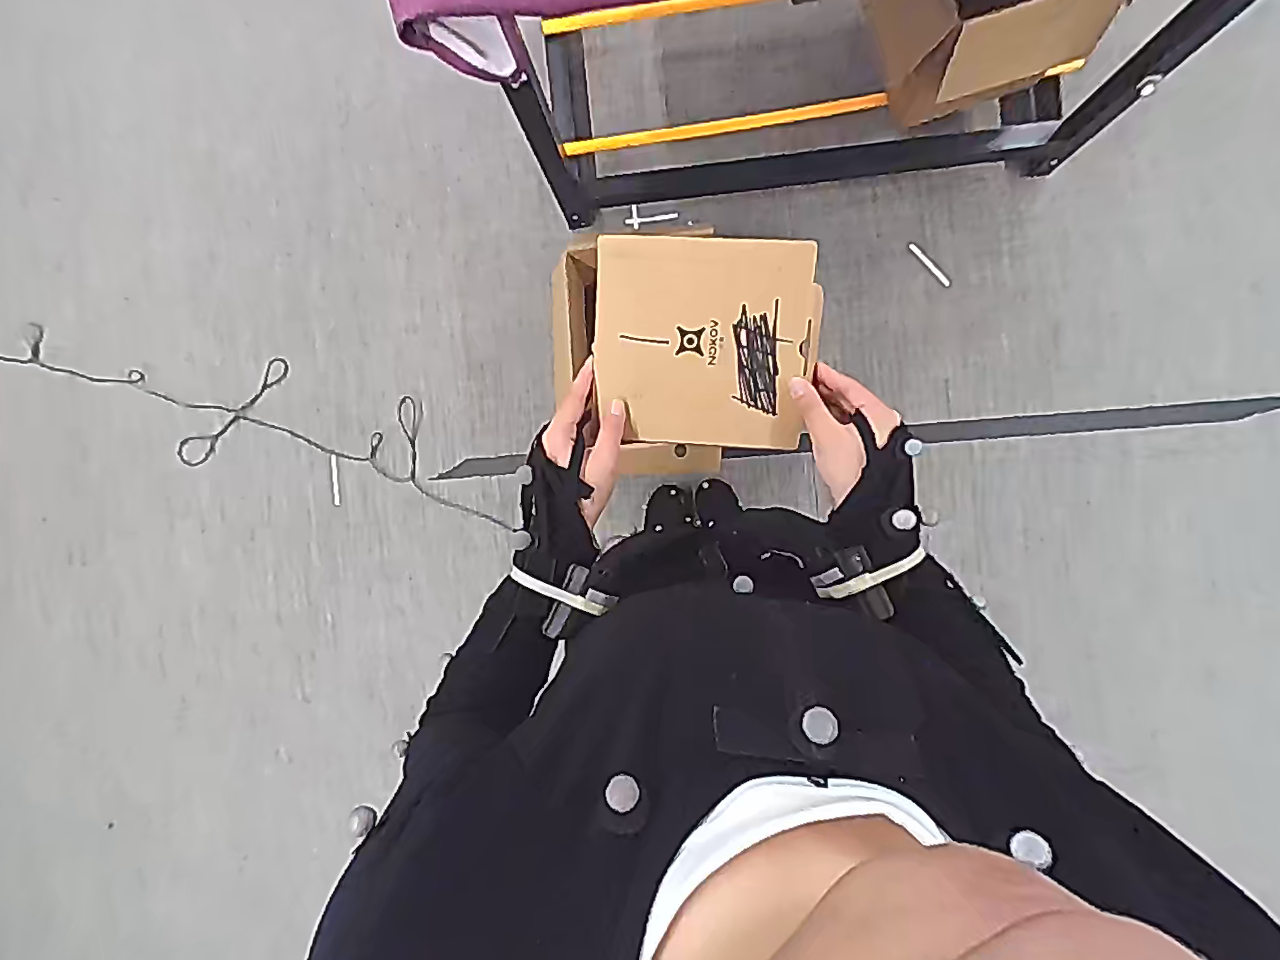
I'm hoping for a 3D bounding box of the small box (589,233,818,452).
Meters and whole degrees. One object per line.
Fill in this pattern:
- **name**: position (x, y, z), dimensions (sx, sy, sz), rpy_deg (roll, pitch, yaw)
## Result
- **small box**: position (0.053, -0.120, 0.516), dimensions (0.179, 0.176, 0.168), rpy_deg (4, 97, 4)
